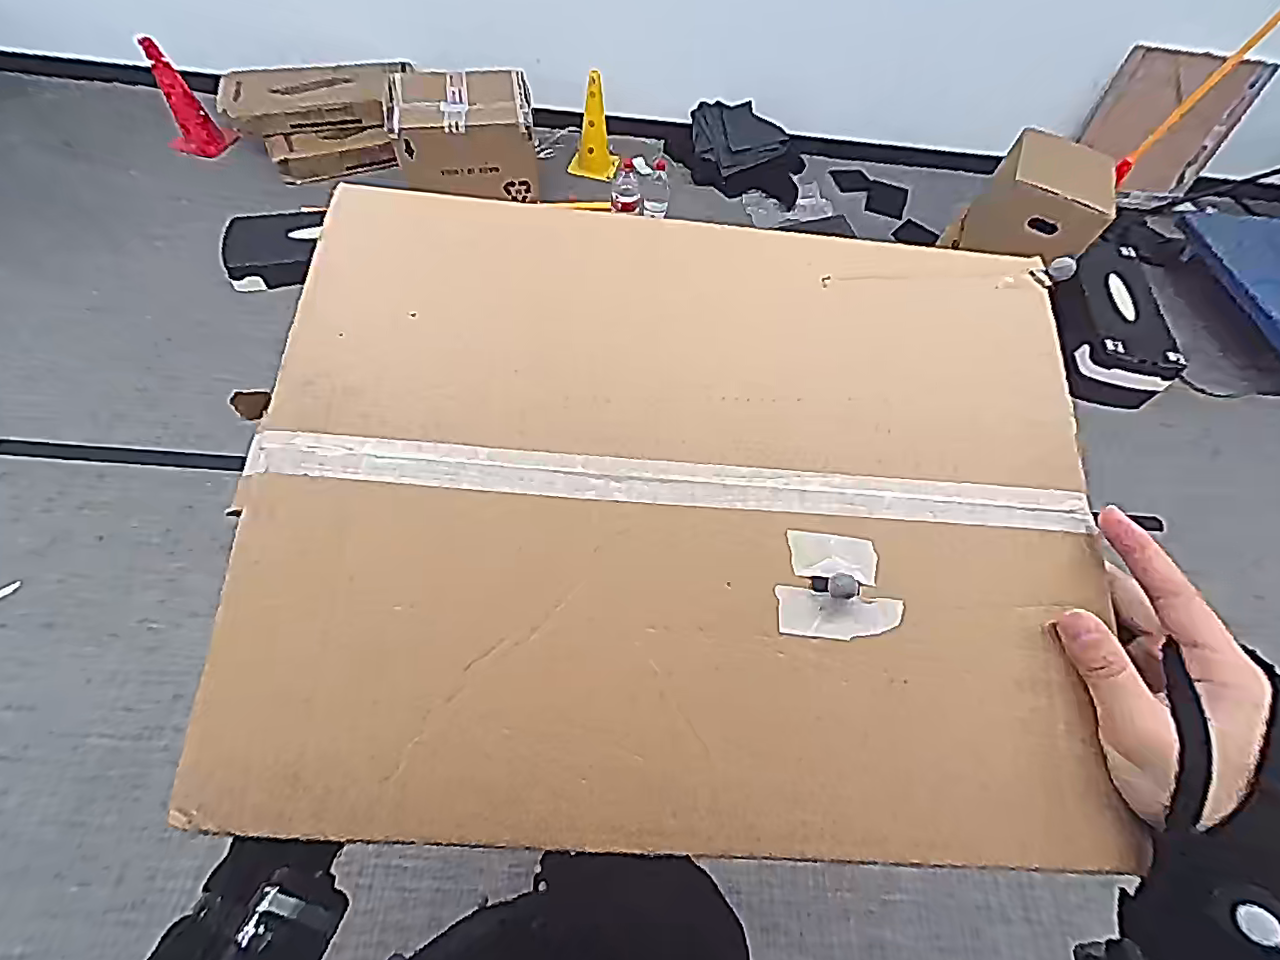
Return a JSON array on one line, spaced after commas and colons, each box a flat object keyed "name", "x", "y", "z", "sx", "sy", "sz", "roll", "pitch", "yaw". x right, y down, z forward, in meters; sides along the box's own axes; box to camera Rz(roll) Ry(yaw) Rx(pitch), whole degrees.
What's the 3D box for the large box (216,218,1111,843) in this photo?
[{"name": "large box", "x": 0.014, "y": 0.050, "z": 0.419, "sx": 0.408, "sy": 0.320, "sz": 0.320, "roll": 5, "pitch": 74, "yaw": -4}]
